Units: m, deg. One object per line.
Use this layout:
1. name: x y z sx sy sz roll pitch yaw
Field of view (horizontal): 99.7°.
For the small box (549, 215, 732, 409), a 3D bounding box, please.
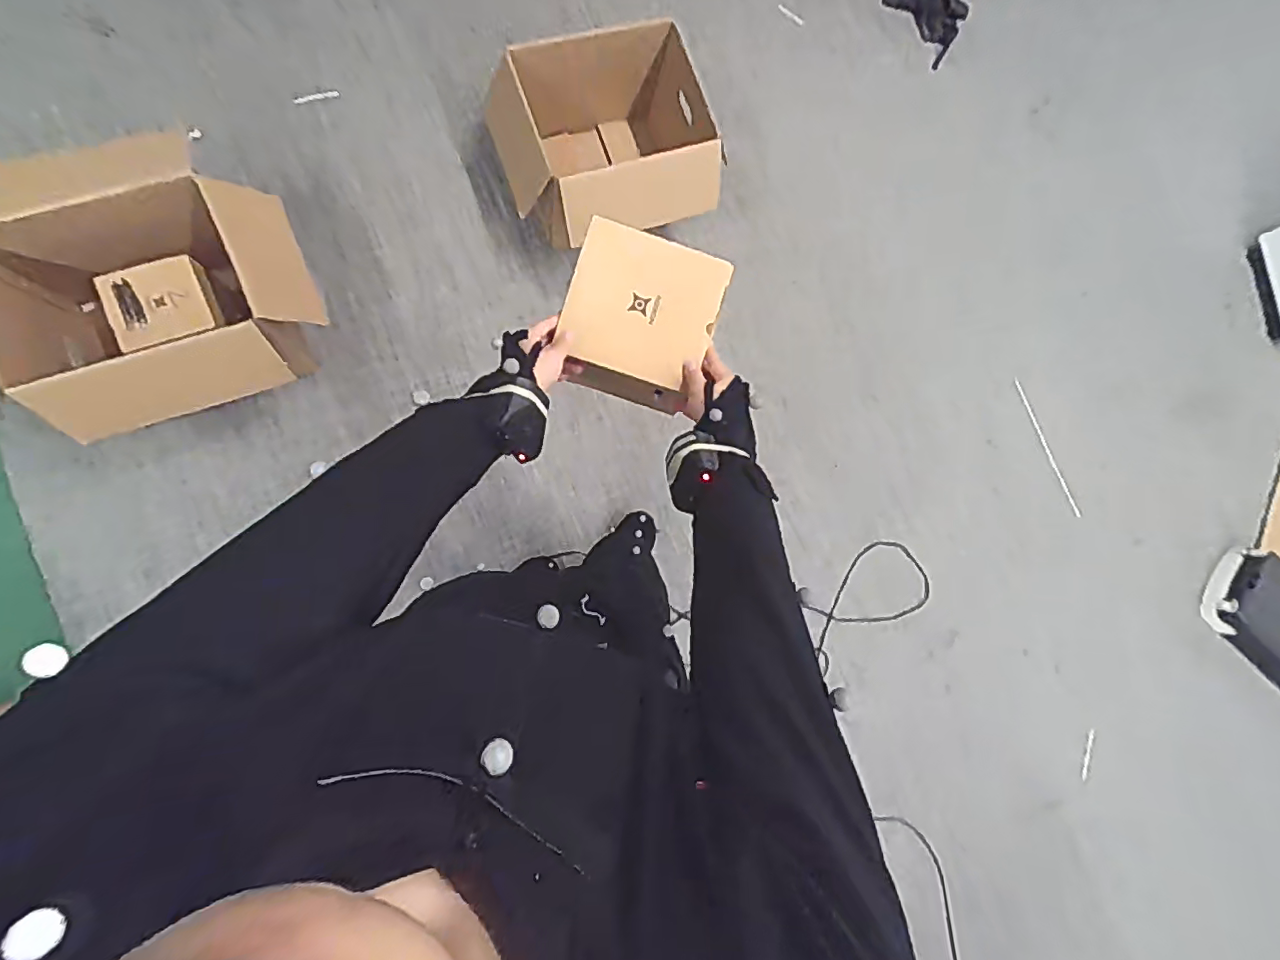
1. small box: -0.005 -0.199 0.698 0.179 0.176 0.168 17 88 -5
